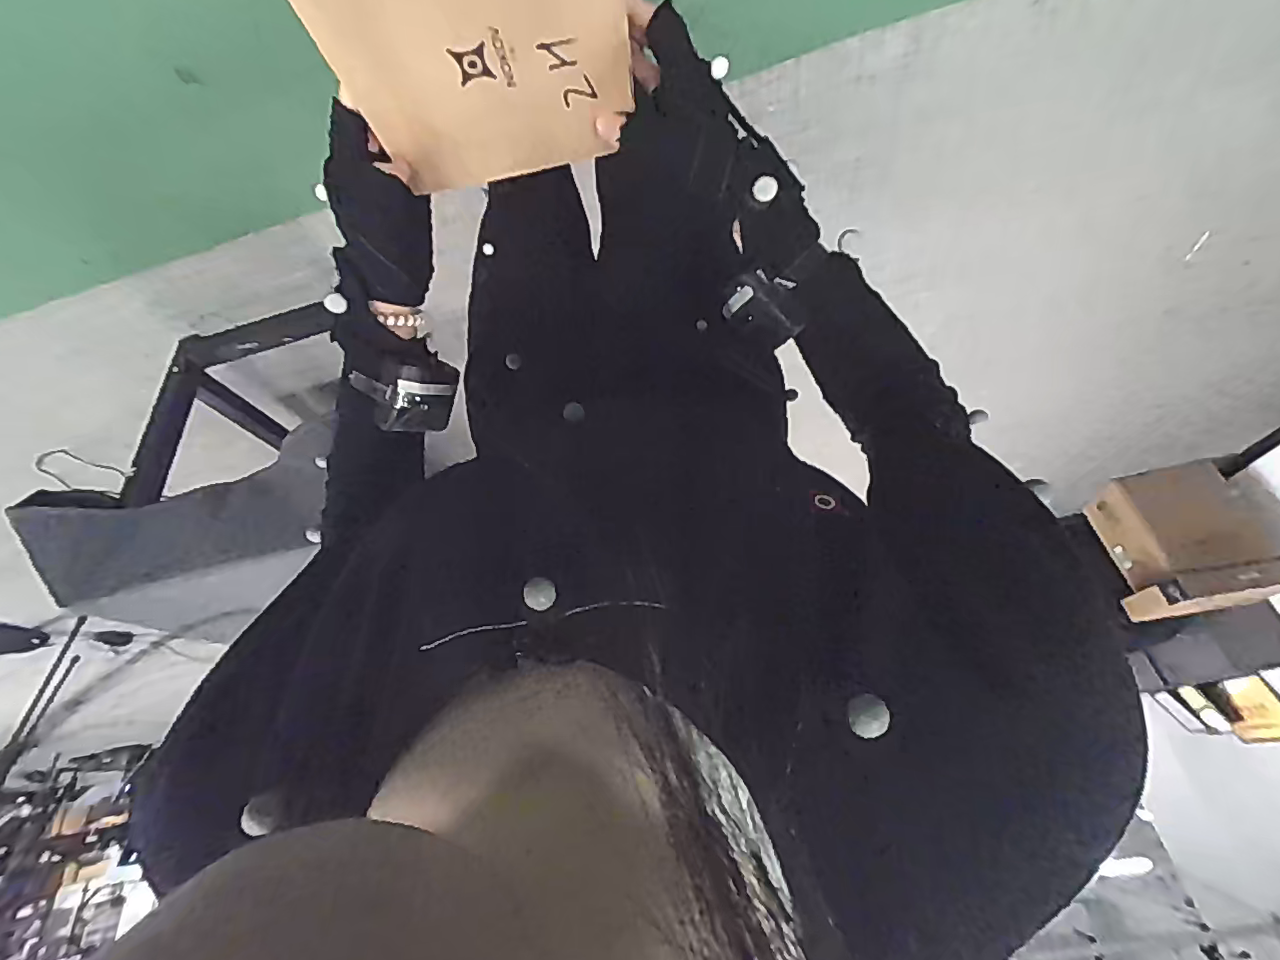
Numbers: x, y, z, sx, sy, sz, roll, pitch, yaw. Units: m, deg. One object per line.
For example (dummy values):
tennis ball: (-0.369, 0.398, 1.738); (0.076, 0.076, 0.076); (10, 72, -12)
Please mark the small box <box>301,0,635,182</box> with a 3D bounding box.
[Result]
small box: (-0.106, -0.337, 0.346); (0.179, 0.176, 0.168); (-11, 165, 2)
